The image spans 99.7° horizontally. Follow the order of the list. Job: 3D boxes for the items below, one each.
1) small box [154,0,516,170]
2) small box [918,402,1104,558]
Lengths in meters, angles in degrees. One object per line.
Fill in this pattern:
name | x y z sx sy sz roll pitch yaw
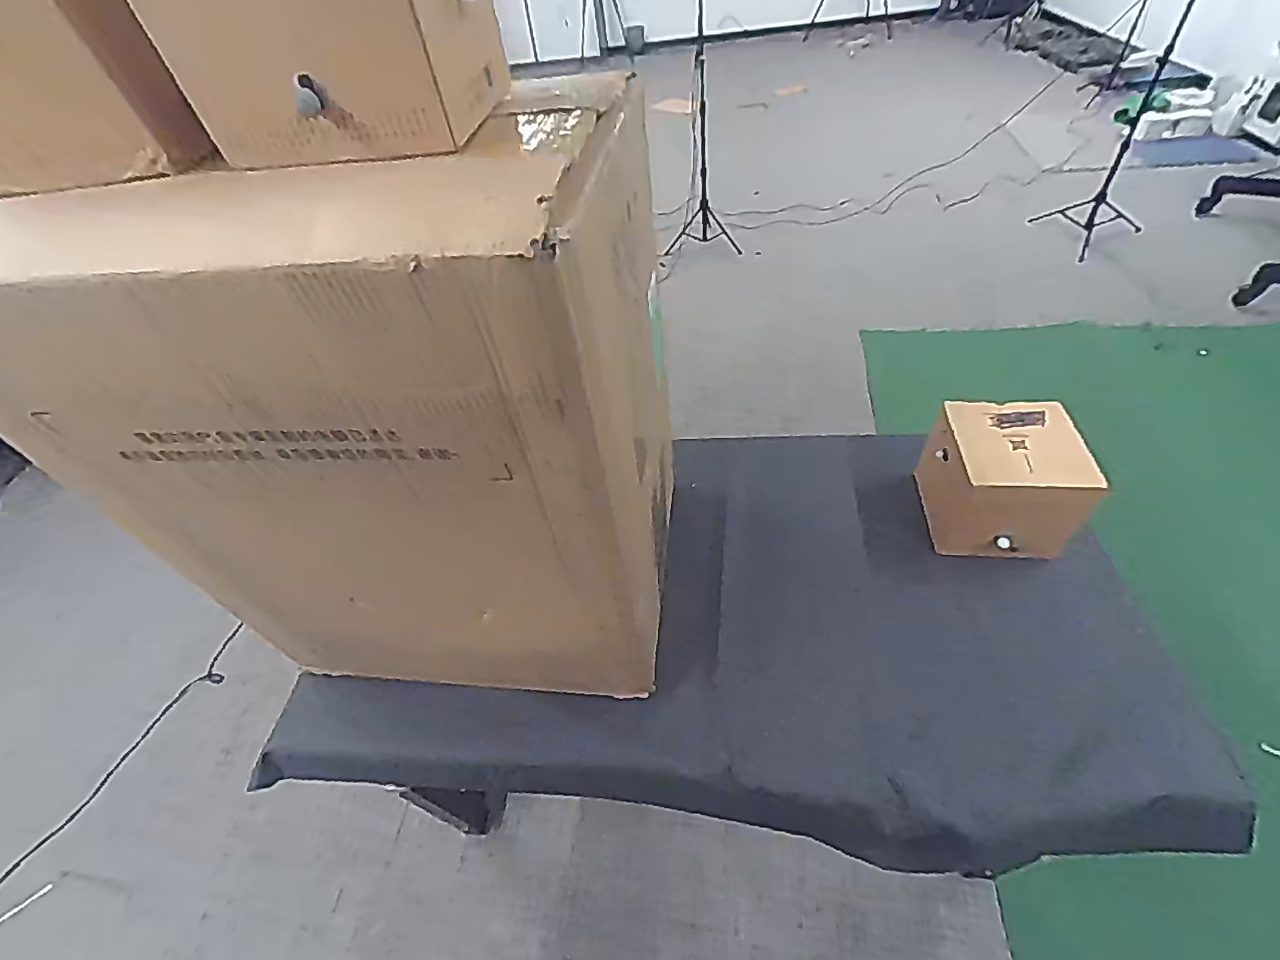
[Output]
small box | -0.201 -0.338 0.377 0.179 0.176 0.168 0 49 6
small box | 0.551 -0.002 0.838 0.168 0.176 0.179 1 49 10
